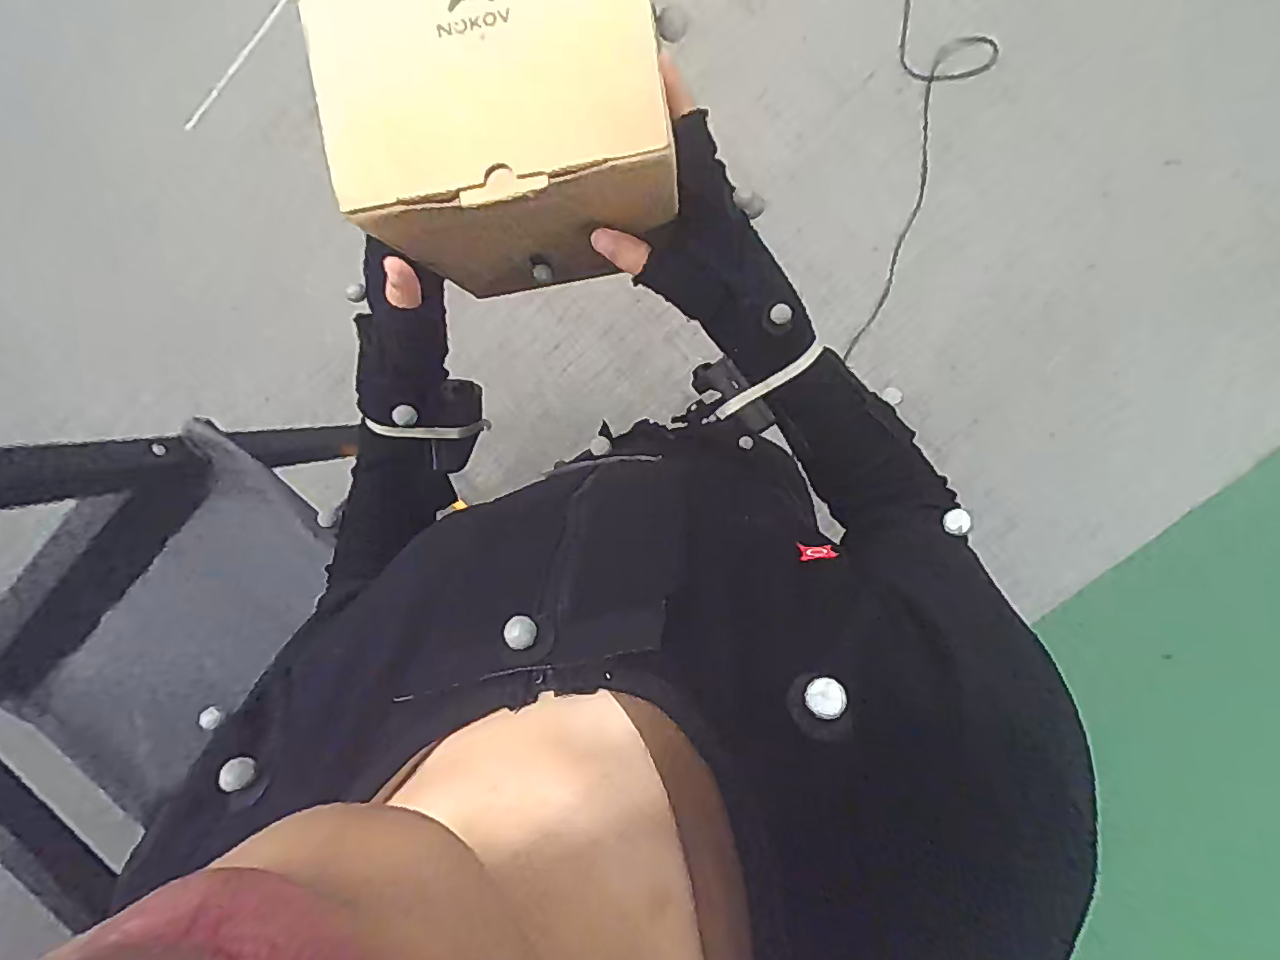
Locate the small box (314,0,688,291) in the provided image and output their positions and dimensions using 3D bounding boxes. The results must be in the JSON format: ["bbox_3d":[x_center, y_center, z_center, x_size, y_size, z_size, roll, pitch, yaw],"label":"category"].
[{"bbox_3d":[-0.064,-0.234,0.327,0.168,0.176,0.179,-8,95,6],"label":"small box"}]
